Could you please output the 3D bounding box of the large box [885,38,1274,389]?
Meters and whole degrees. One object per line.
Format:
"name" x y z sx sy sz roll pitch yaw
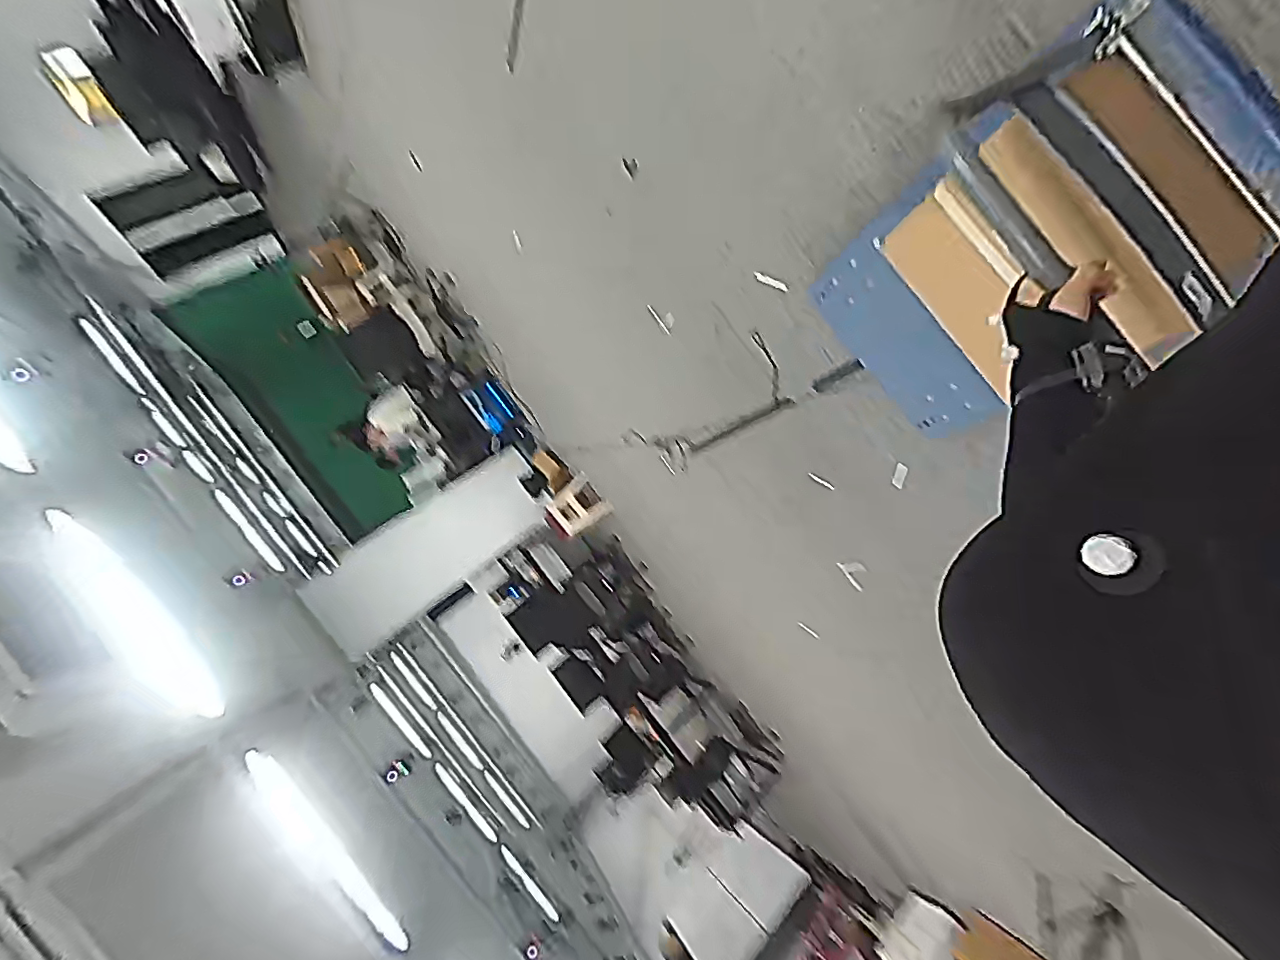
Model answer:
"large box" 0.746 -0.445 0.953 0.408 0.320 0.320 52 158 1
